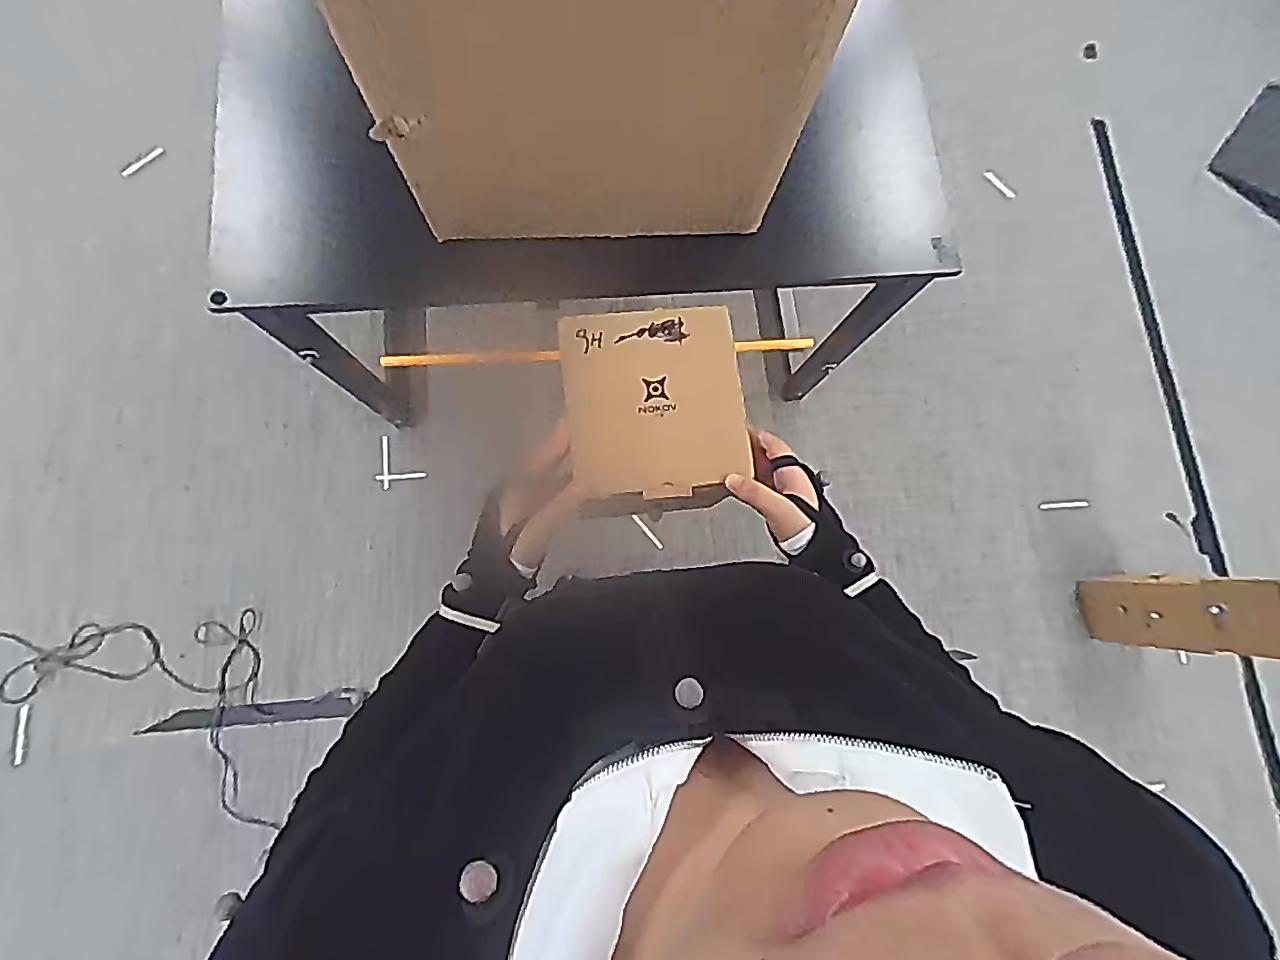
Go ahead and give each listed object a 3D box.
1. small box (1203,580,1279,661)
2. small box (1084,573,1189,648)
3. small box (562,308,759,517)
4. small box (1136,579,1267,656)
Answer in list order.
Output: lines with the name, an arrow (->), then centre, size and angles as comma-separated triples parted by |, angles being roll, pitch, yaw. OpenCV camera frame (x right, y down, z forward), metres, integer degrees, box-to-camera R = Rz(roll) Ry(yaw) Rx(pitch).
small box -> 1.399, 0.304, 1.173 | 0.179, 0.176, 0.168 | 1, 79, -2
small box -> 1.384, 0.356, 1.496 | 0.168, 0.176, 0.179 | -7, 81, -5
small box -> 0.012, -0.057, 0.565 | 0.168, 0.176, 0.179 | -6, 81, -7
small box -> 1.396, 0.332, 1.334 | 0.179, 0.176, 0.168 | -4, 80, -4
